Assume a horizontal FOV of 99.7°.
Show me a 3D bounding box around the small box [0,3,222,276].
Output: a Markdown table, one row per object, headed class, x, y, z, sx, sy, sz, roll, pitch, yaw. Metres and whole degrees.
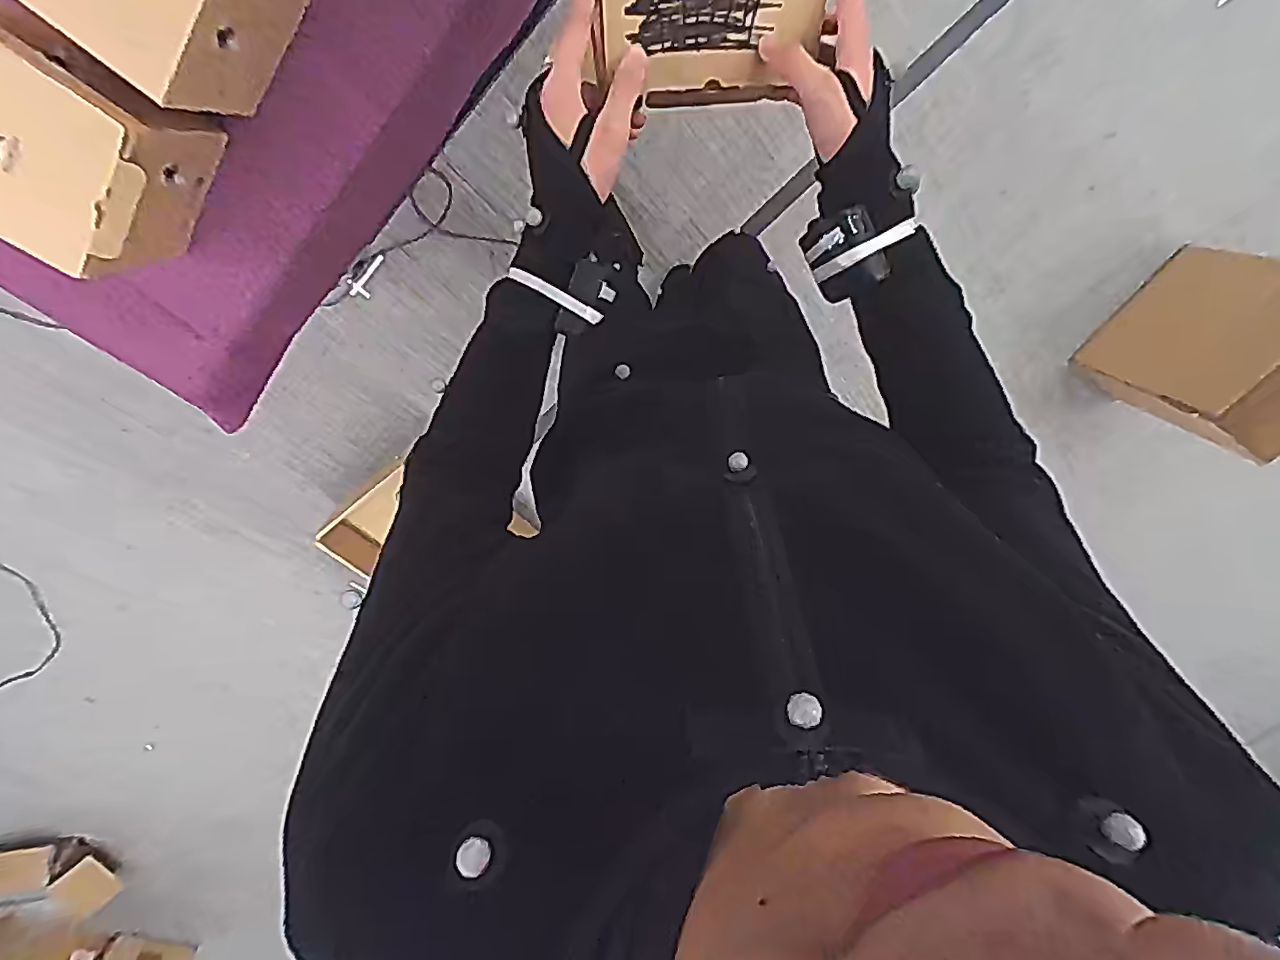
| class | x | y | z | sx | sy | sz | roll | pitch | yaw |
| --- | --- | --- | --- | --- | --- | --- | --- | --- | --- |
| small box | -0.578 | -0.342 | 0.546 | 0.179 | 0.176 | 0.168 | 32 | 111 | -23 |
